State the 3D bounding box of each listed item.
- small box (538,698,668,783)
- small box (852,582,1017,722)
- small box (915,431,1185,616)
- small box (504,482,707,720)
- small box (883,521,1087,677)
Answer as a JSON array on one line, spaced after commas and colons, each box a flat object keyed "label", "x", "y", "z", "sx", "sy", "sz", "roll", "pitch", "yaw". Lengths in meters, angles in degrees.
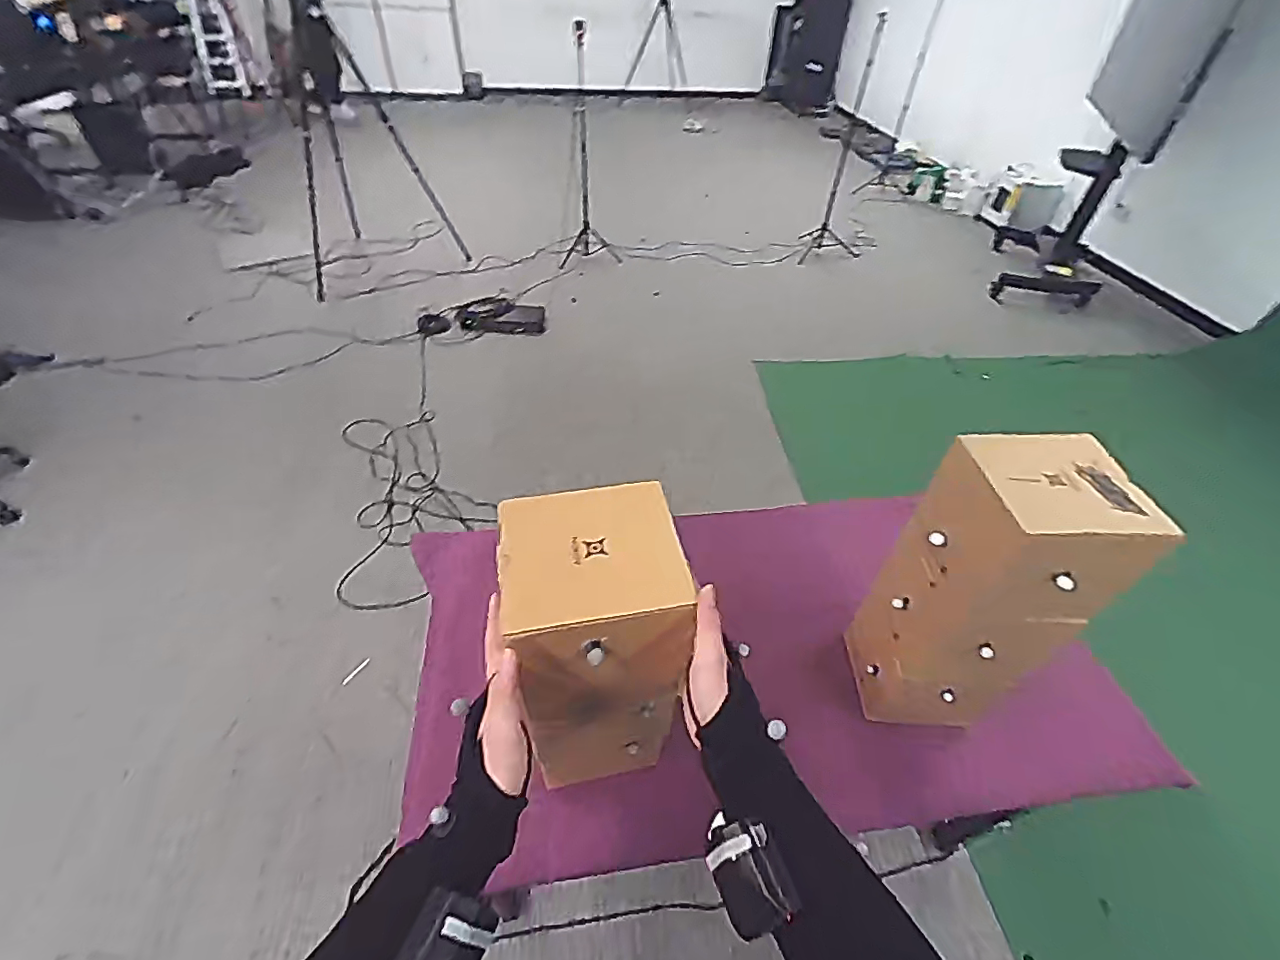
[{"label": "small box", "x": -0.066, "y": 0.339, "z": 0.829, "sx": 0.179, "sy": 0.176, "sz": 0.168, "roll": -8, "pitch": 46, "yaw": -10}, {"label": "small box", "x": 0.472, "y": 0.289, "z": 0.906, "sx": 0.179, "sy": 0.176, "sz": 0.168, "roll": 4, "pitch": 45, "yaw": 1}, {"label": "small box", "x": 0.483, "y": 0.057, "z": 0.675, "sx": 0.179, "sy": 0.176, "sz": 0.168, "roll": 0, "pitch": 45, "yaw": -2}, {"label": "small box", "x": -0.041, "y": 0.127, "z": 0.568, "sx": 0.179, "sy": 0.176, "sz": 0.168, "roll": -8, "pitch": 44, "yaw": -7}, {"label": "small box", "x": 0.477, "y": 0.175, "z": 0.790, "sx": 0.179, "sy": 0.176, "sz": 0.168, "roll": 0, "pitch": 46, "yaw": -1}]
